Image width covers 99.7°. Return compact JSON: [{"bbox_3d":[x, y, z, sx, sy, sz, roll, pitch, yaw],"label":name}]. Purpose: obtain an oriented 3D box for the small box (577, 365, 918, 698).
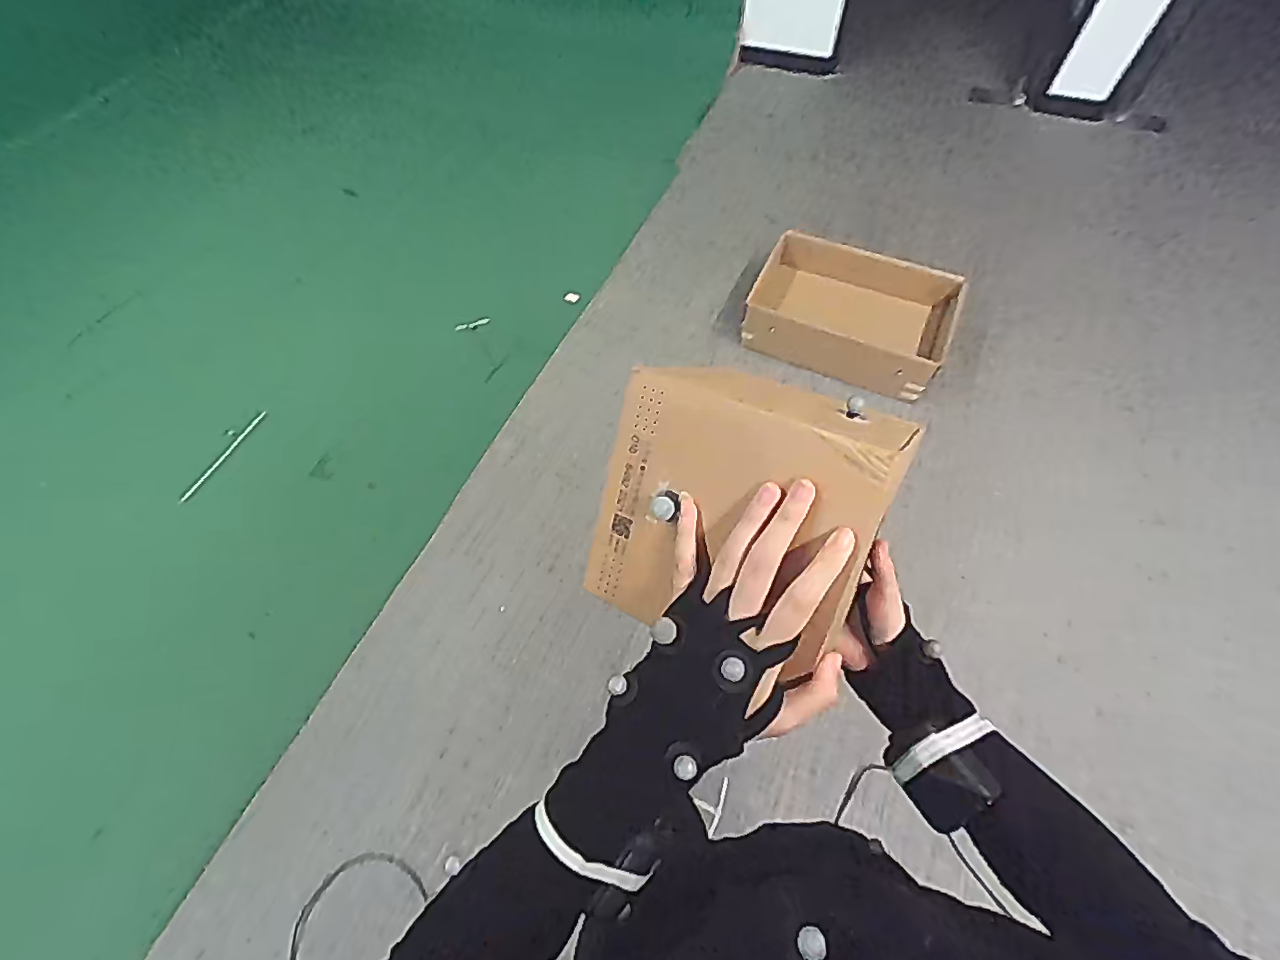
[{"bbox_3d":[0.081,0.015,0.405,0.176,0.168,0.179,24,21,27],"label":"small box"}]
